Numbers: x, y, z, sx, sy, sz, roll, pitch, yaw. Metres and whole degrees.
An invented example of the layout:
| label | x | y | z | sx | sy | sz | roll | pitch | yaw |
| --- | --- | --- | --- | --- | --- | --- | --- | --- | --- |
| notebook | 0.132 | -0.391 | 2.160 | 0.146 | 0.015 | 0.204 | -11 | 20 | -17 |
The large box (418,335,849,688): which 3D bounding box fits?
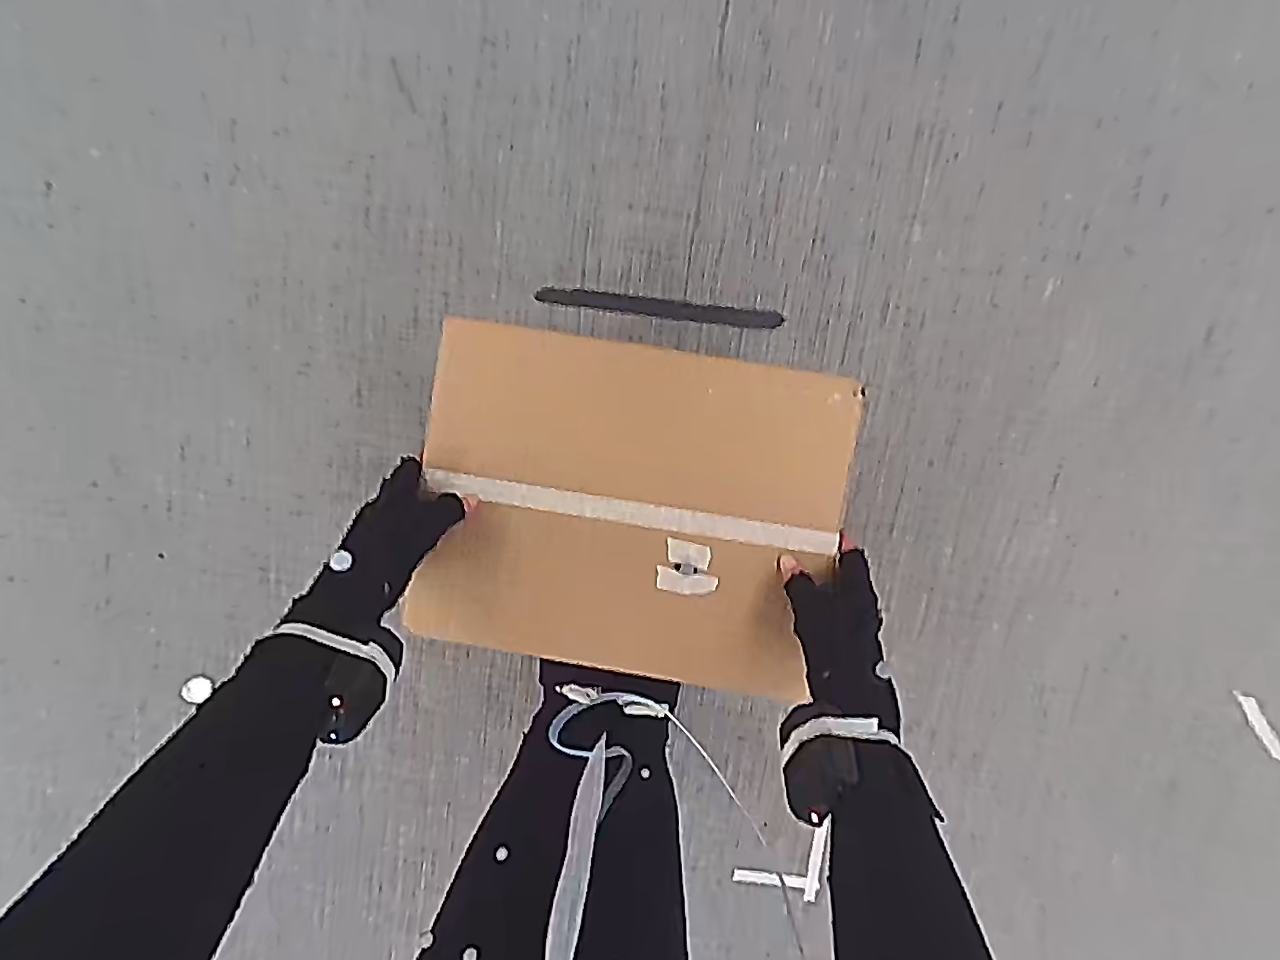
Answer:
| label | x | y | z | sx | sy | sz | roll | pitch | yaw |
| --- | --- | --- | --- | --- | --- | --- | --- | --- | --- |
| large box | -0.008 | 0.026 | 0.687 | 0.408 | 0.320 | 0.320 | 9 | 93 | 1 |
